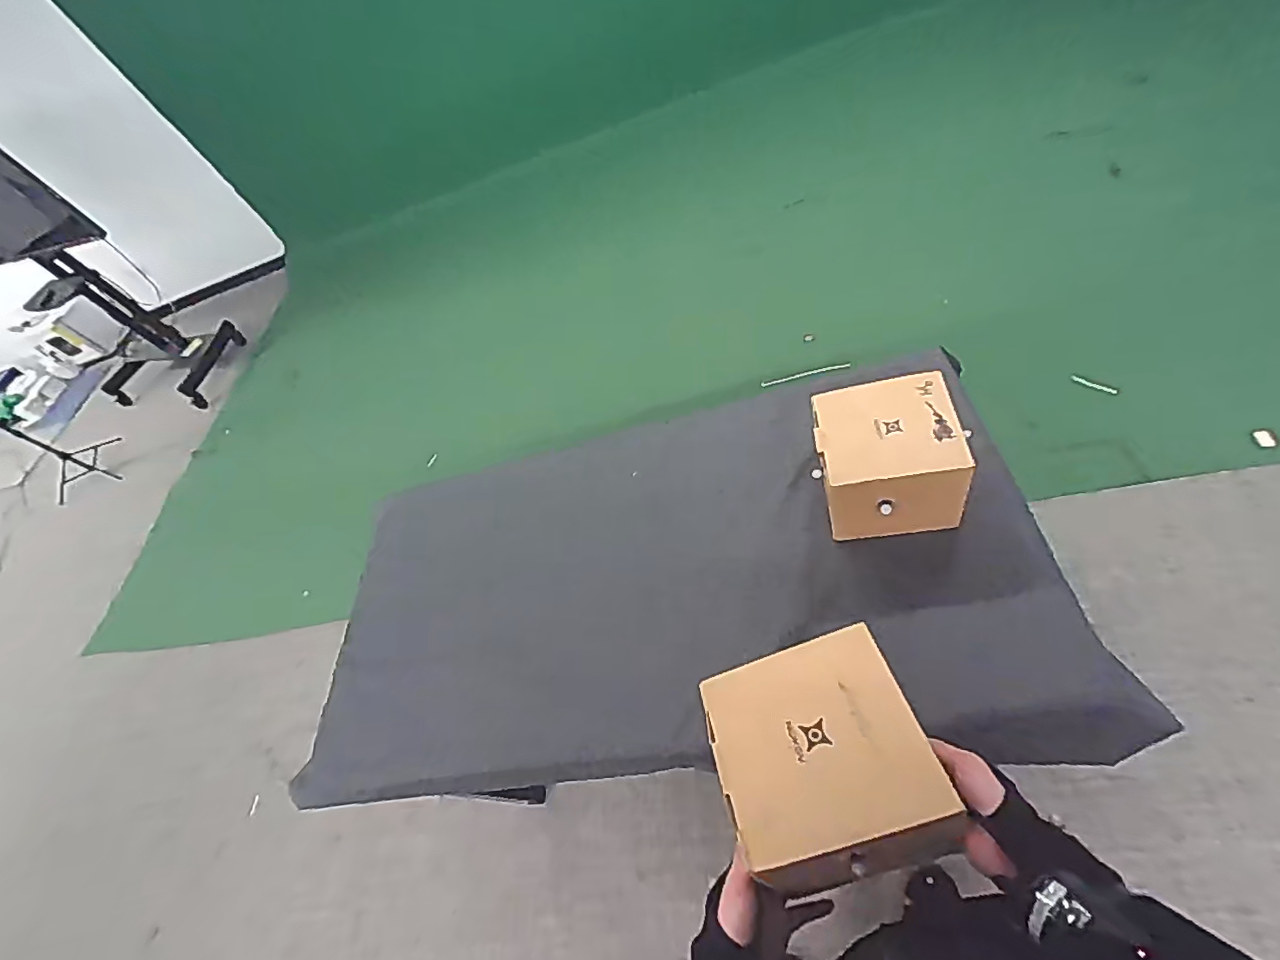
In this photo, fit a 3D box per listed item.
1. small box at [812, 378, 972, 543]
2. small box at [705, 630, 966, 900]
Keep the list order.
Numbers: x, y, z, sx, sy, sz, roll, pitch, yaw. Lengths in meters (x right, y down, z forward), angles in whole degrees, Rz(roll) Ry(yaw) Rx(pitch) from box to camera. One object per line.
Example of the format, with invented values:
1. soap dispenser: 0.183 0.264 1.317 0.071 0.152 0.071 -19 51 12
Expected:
1. small box: 0.363 -0.019 0.797 0.179 0.176 0.168 -10 55 18
2. small box: 0.186 0.281 0.526 0.179 0.176 0.168 -23 43 8
